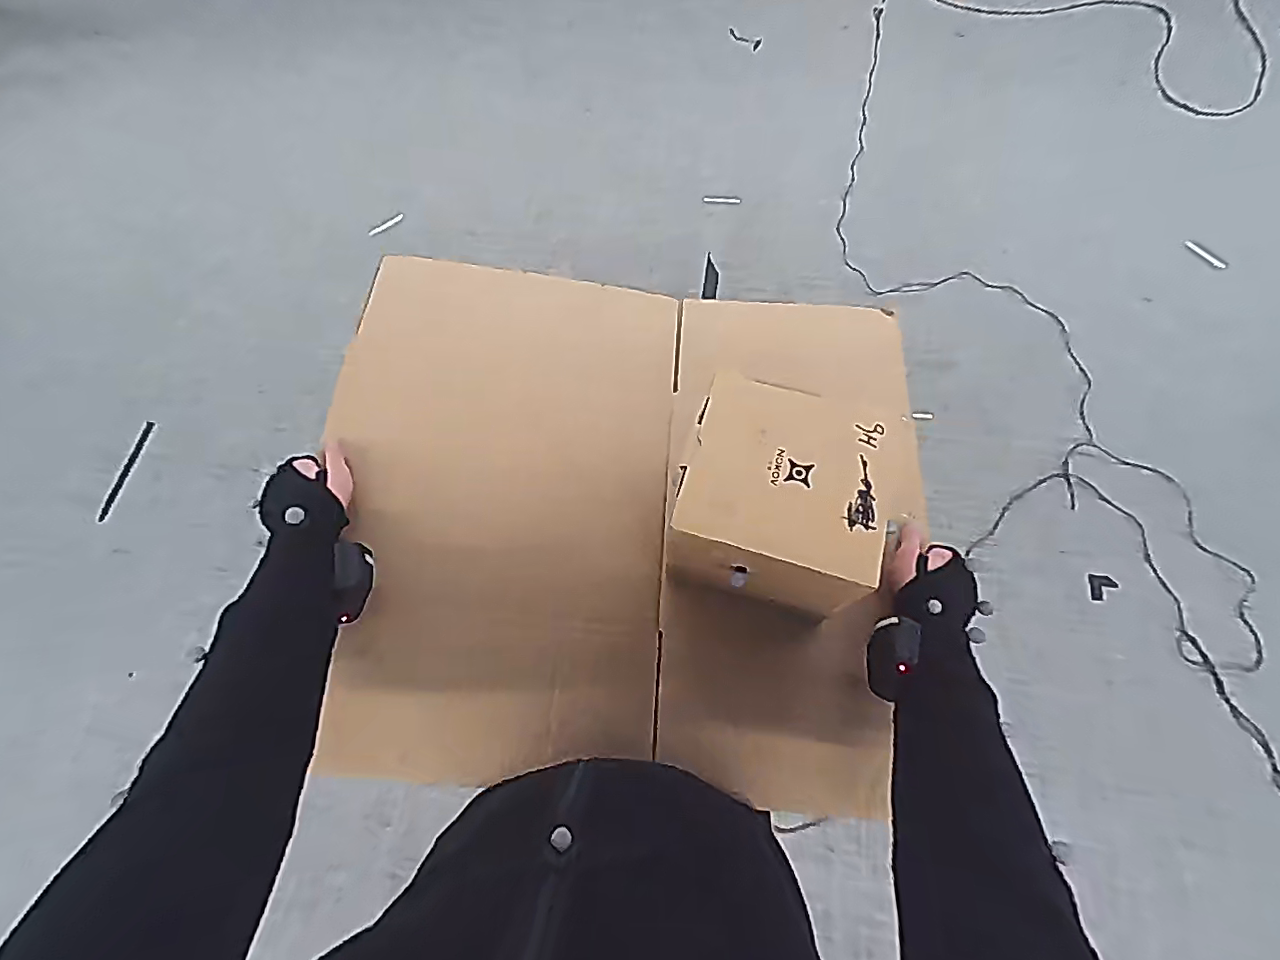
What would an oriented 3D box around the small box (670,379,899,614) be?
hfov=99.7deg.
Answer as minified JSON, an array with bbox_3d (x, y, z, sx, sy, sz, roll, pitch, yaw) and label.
[{"bbox_3d":[0.137,0.026,0.553,0.179,0.176,0.168,15,68,10],"label":"small box"}]
